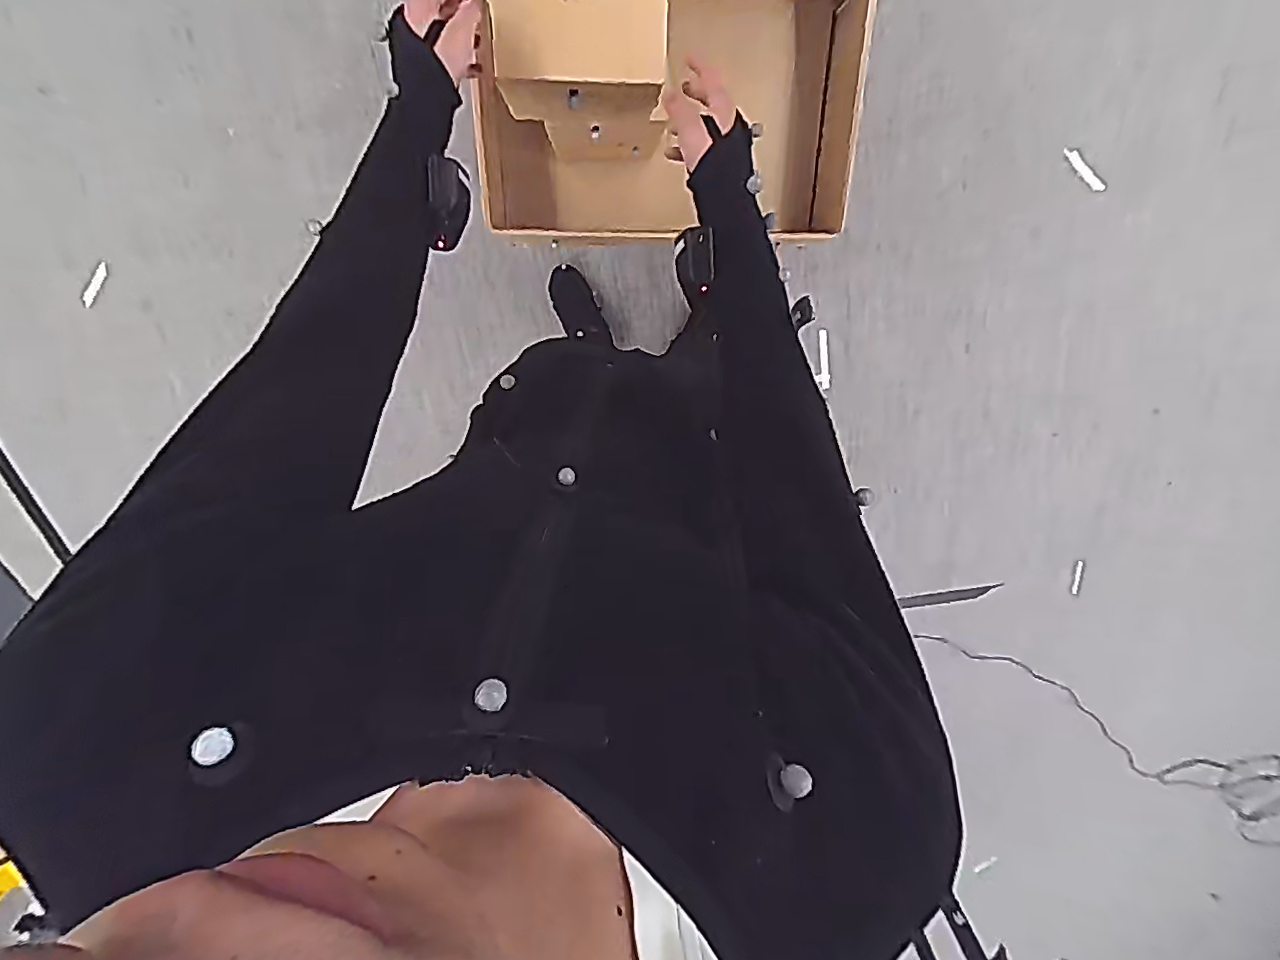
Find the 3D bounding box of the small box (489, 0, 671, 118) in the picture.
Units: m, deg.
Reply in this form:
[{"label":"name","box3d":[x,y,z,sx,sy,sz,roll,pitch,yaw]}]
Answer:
[{"label":"small box","box3d":[-0.063,-0.506,0.582,0.179,0.176,0.168,-1,113,-4]}]

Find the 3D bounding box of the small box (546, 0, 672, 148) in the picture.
[{"label":"small box","box3d":[-0.049,-0.570,0.733,0.168,0.176,0.179,-4,112,-2]}]
